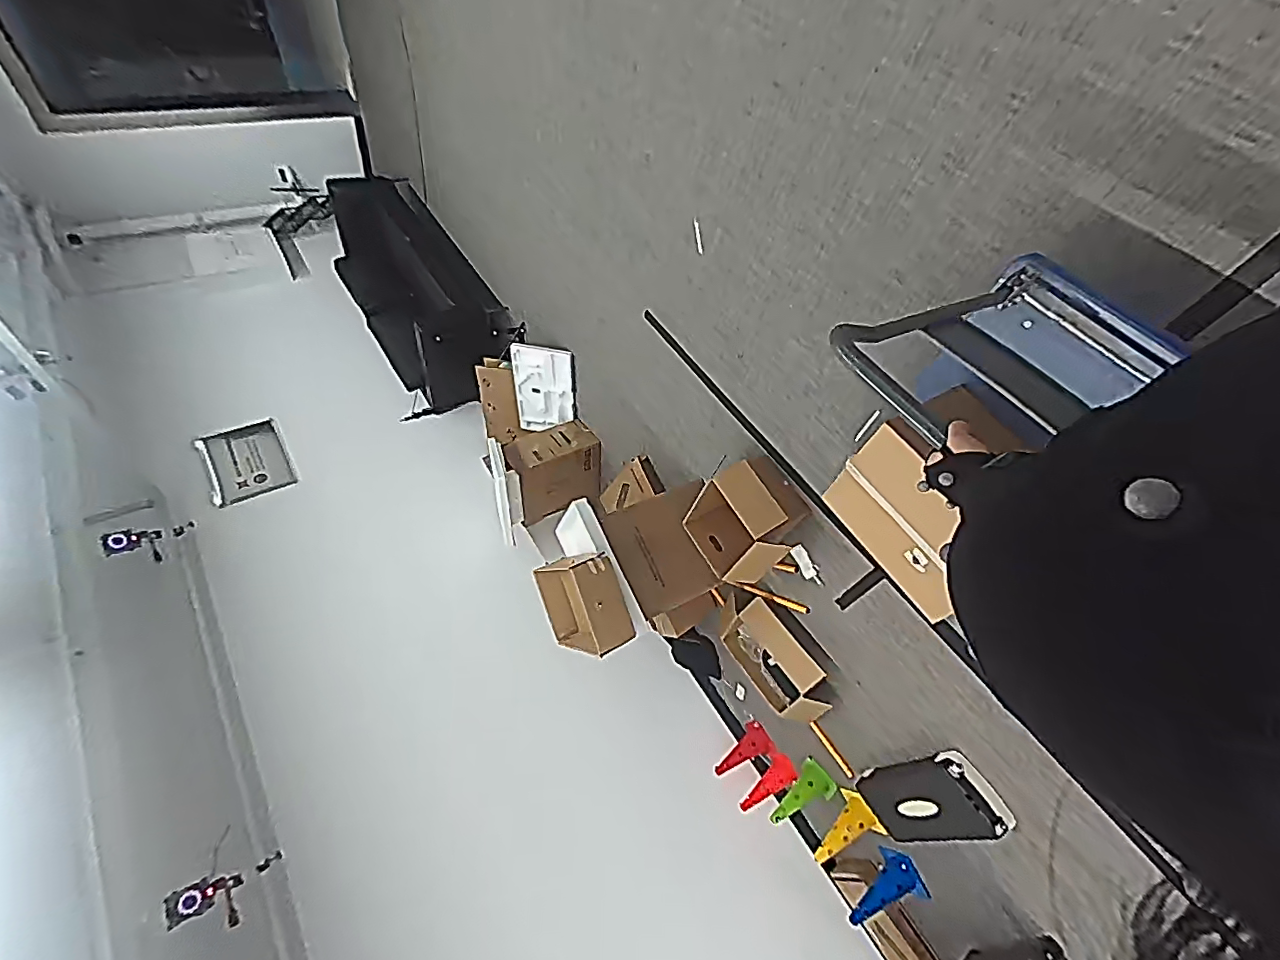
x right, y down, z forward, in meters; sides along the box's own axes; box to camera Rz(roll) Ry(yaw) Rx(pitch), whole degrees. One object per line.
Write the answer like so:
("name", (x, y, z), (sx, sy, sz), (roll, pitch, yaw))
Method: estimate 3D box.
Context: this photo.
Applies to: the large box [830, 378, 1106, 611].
("large box", (0.758, 0.025, 1.298), (0.408, 0.320, 0.320), (53, 151, 23))
